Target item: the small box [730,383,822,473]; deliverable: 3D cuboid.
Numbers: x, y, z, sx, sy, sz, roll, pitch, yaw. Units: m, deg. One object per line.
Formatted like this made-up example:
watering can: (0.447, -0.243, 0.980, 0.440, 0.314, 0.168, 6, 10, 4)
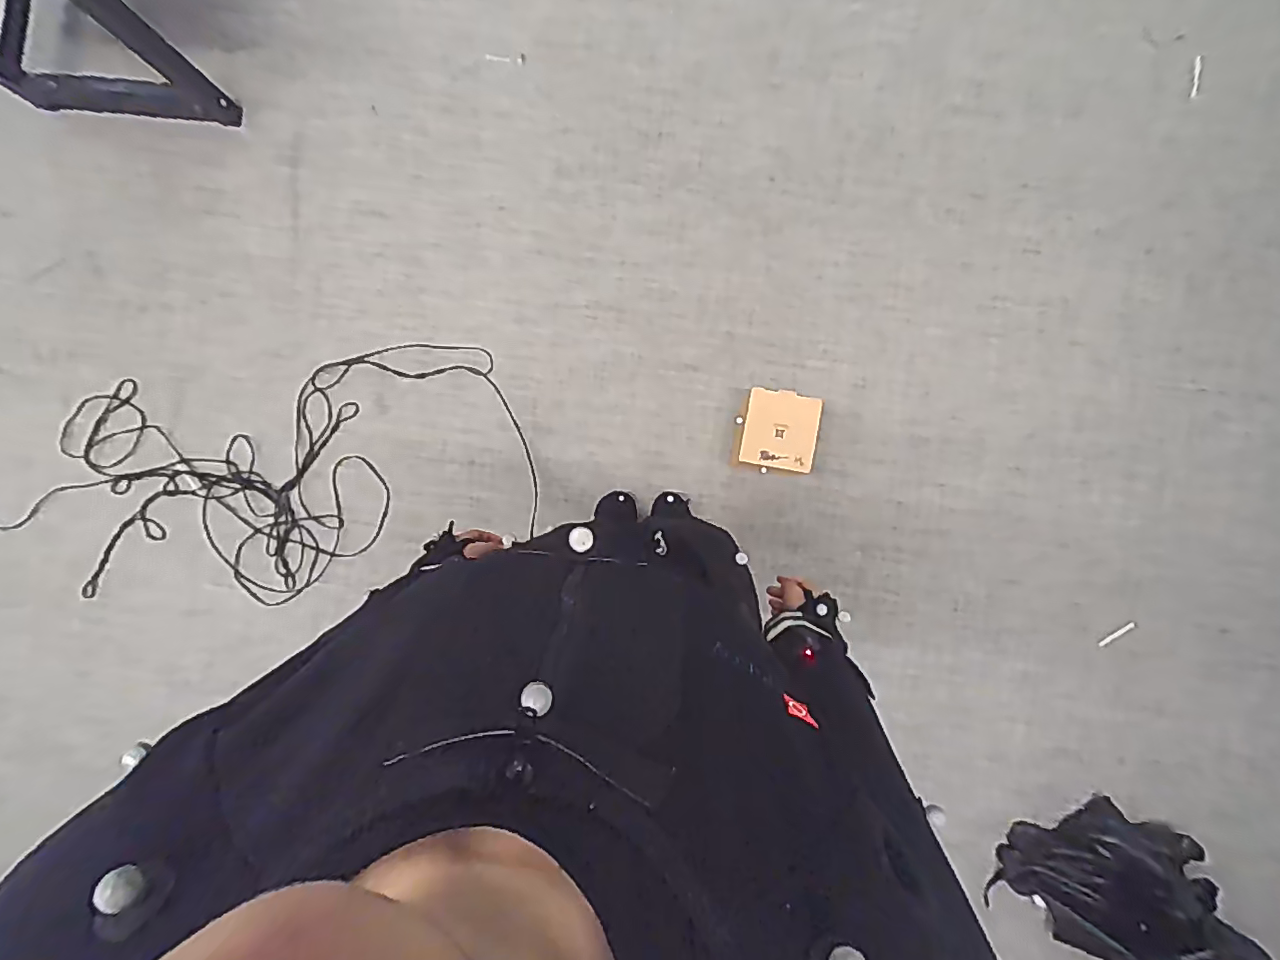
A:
small box: (0.318, -0.119, 1.299, 0.168, 0.176, 0.179, 10, 89, 2)
